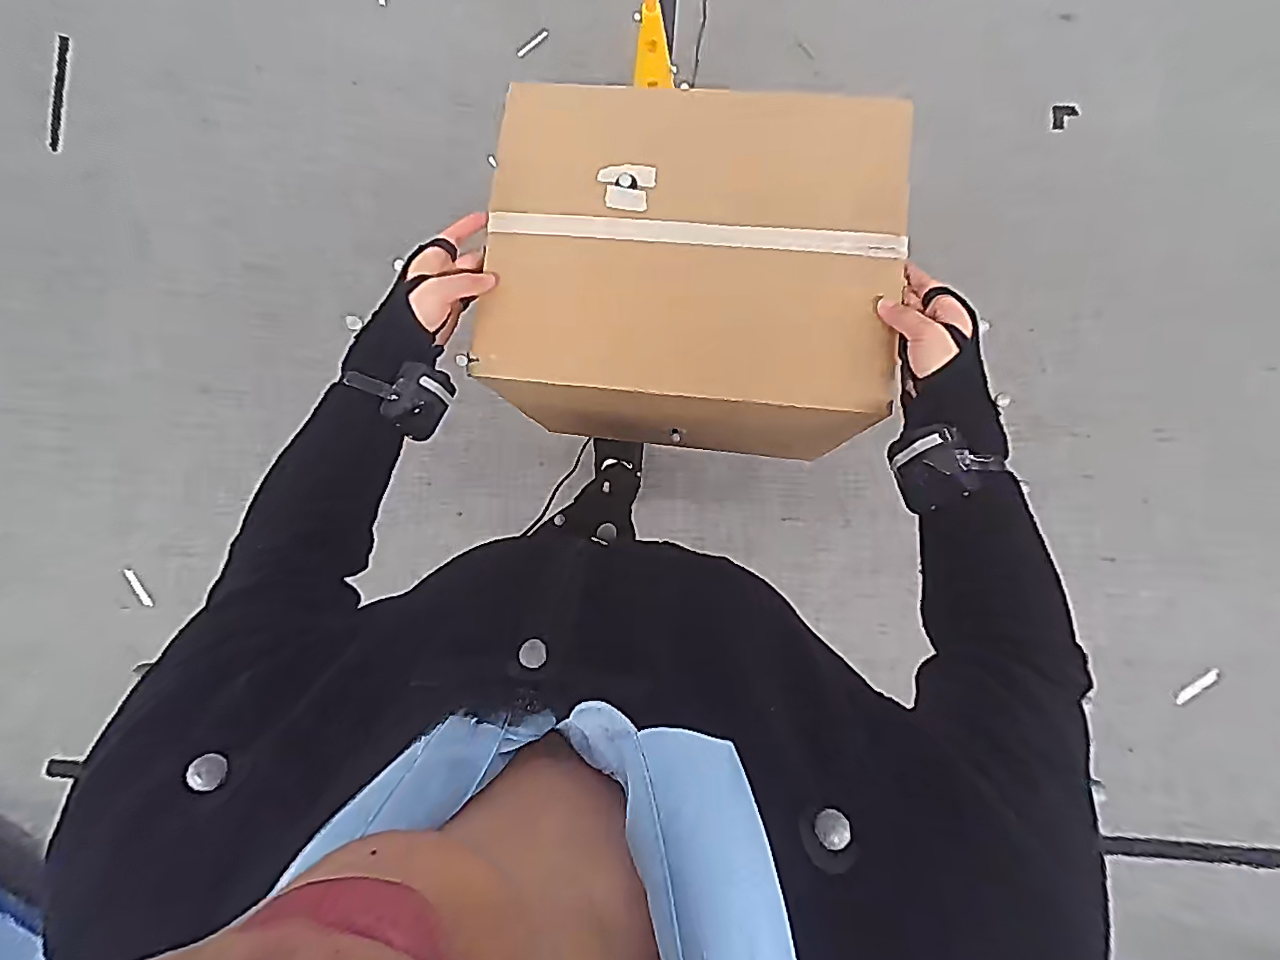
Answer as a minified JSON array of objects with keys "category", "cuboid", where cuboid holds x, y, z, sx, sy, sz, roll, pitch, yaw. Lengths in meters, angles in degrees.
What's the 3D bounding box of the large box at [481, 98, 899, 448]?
[{"category":"large box","cuboid":[0.063,-0.225,0.688,0.408,0.320,0.320,6,84,6]}]
